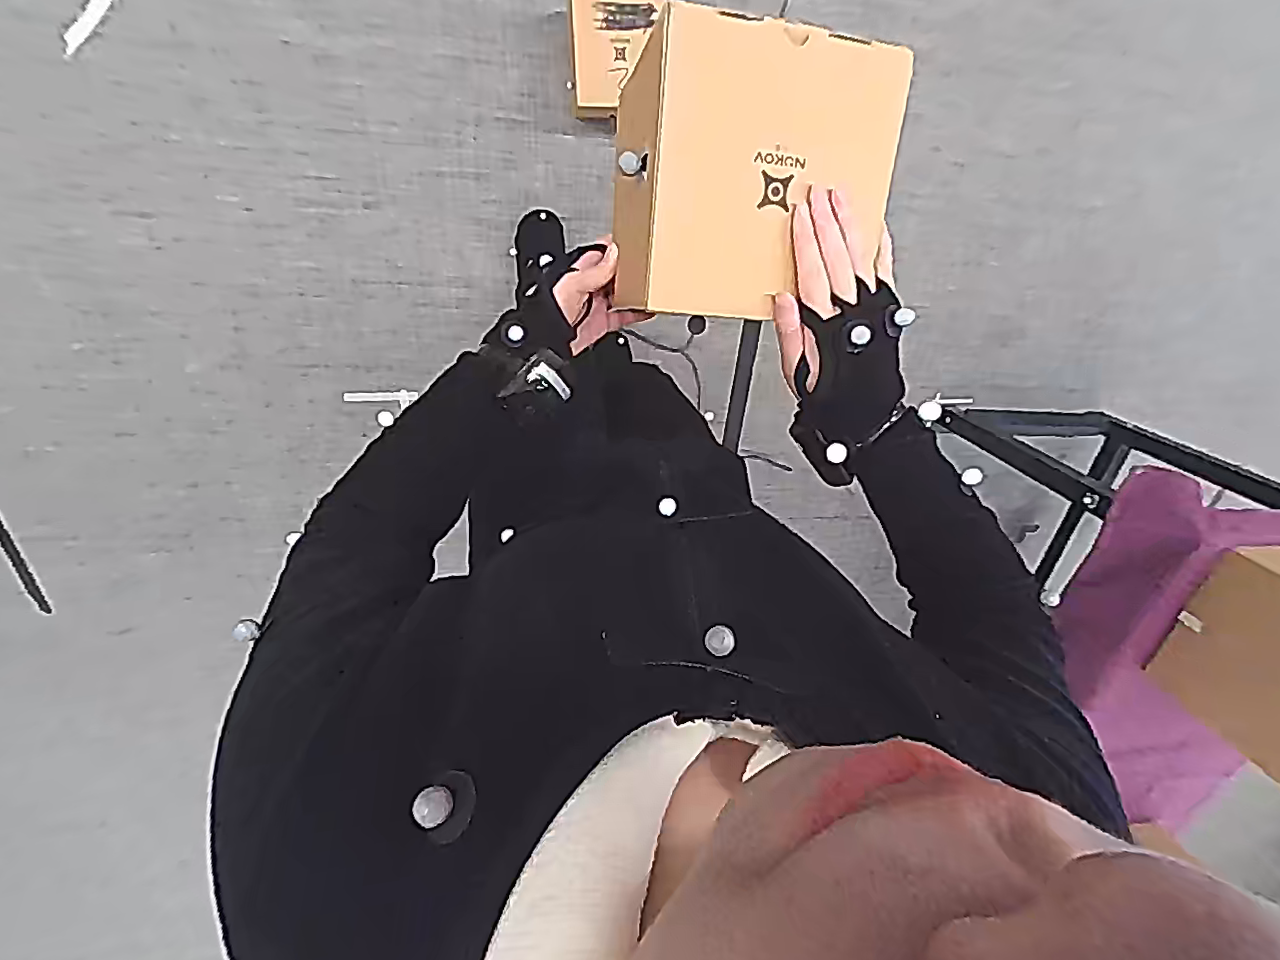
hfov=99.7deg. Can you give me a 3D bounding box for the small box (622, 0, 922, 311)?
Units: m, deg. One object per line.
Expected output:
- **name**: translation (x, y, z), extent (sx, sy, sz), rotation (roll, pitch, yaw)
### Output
- **small box**: translation (0.086, -0.230, 0.391), extent (0.179, 0.176, 0.168), rotation (0, 91, 6)
